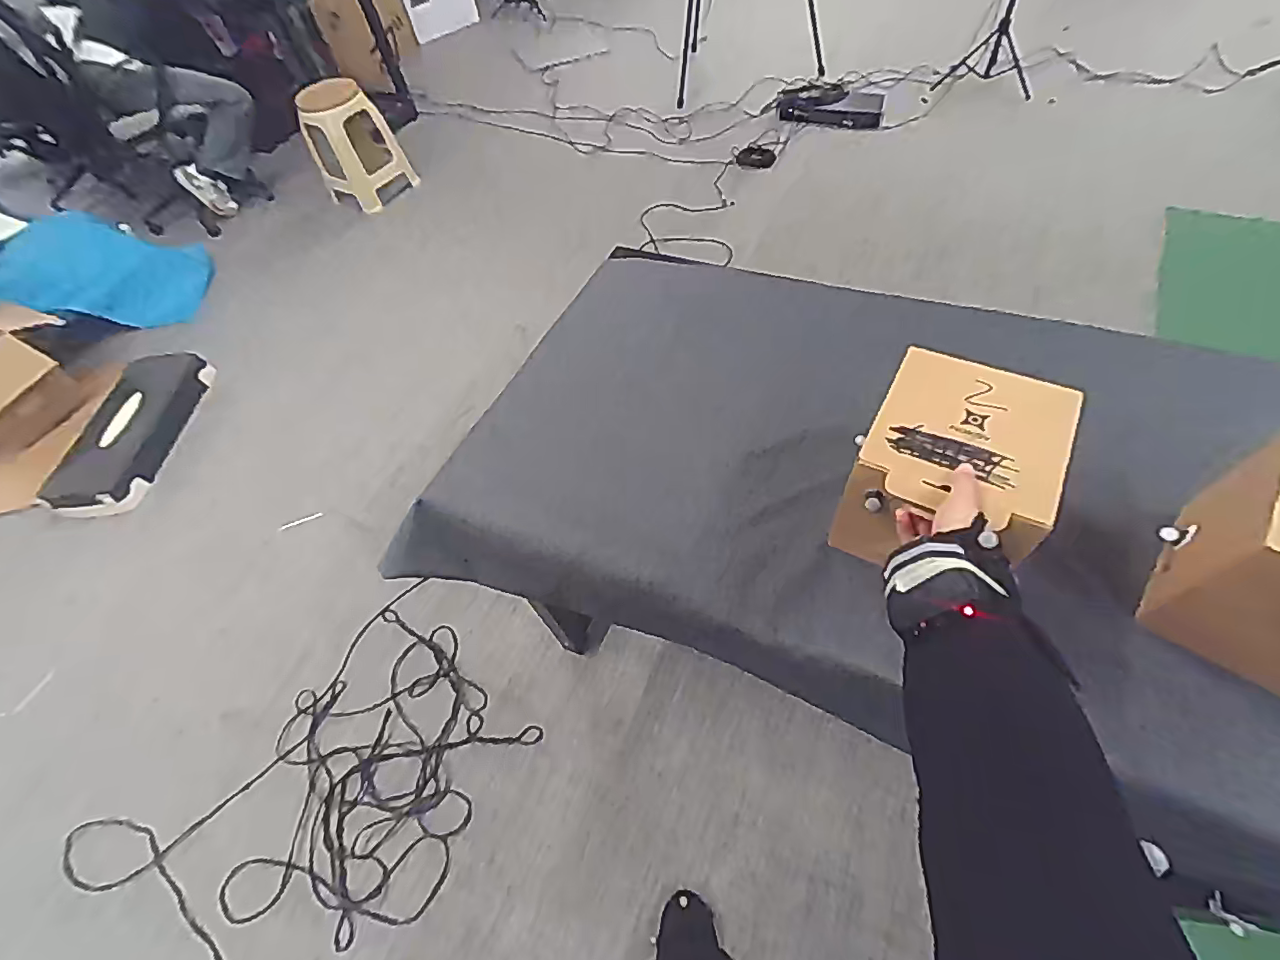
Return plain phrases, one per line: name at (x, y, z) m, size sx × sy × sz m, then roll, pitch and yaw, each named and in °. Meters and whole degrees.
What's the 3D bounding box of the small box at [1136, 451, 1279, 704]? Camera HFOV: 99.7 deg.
small box at (0.616, 0.096, 0.486) m, size 0.179 × 0.176 × 0.168 m, roll 31°, pitch 63°, yaw 27°
